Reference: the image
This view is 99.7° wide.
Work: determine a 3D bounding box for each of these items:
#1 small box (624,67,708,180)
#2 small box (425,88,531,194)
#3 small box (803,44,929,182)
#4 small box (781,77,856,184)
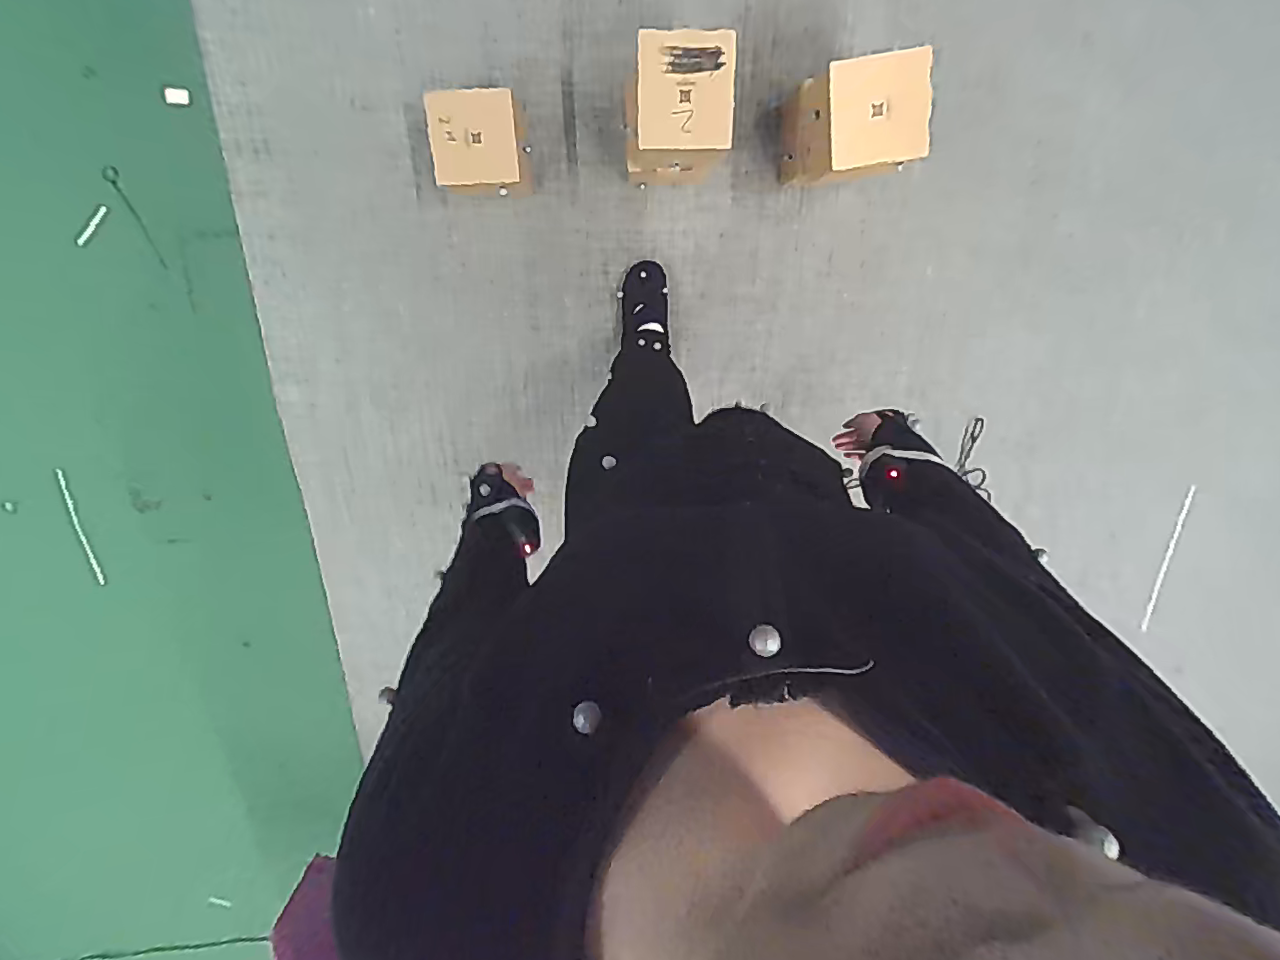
[{"bbox_3d":[0.052,-0.749,1.154,0.168,0.176,0.179,-1,110,0],"label":"small box"},{"bbox_3d":[-0.336,-0.720,1.163,0.179,0.176,0.168,-2,110,0],"label":"small box"},{"bbox_3d":[0.410,-0.671,1.011,0.179,0.176,0.168,-8,111,2],"label":"small box"},{"bbox_3d":[0.406,-0.742,1.158,0.179,0.176,0.168,-3,111,1],"label":"small box"}]
